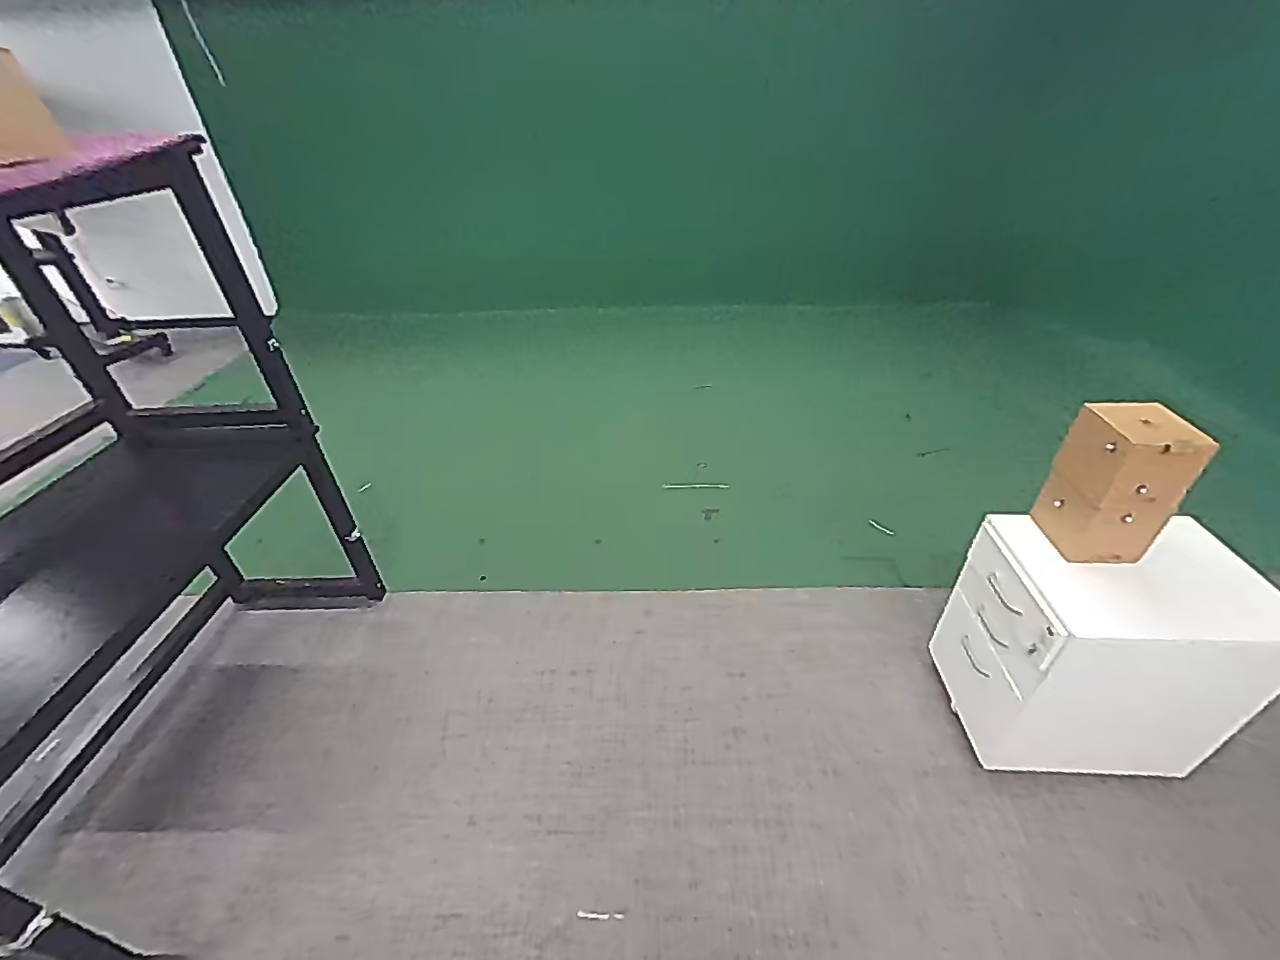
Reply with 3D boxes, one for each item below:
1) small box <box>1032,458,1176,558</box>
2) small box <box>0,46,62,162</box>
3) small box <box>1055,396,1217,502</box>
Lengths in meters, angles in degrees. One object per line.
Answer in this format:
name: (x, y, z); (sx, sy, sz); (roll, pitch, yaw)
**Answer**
small box: (1.083, 0.063, 1.286); (0.168, 0.176, 0.179); (0, 37, 3)
small box: (-1.182, -0.639, 0.924); (0.168, 0.176, 0.179); (-2, 37, 4)
small box: (1.072, -0.069, 1.191); (0.168, 0.176, 0.179); (0, 38, 3)
